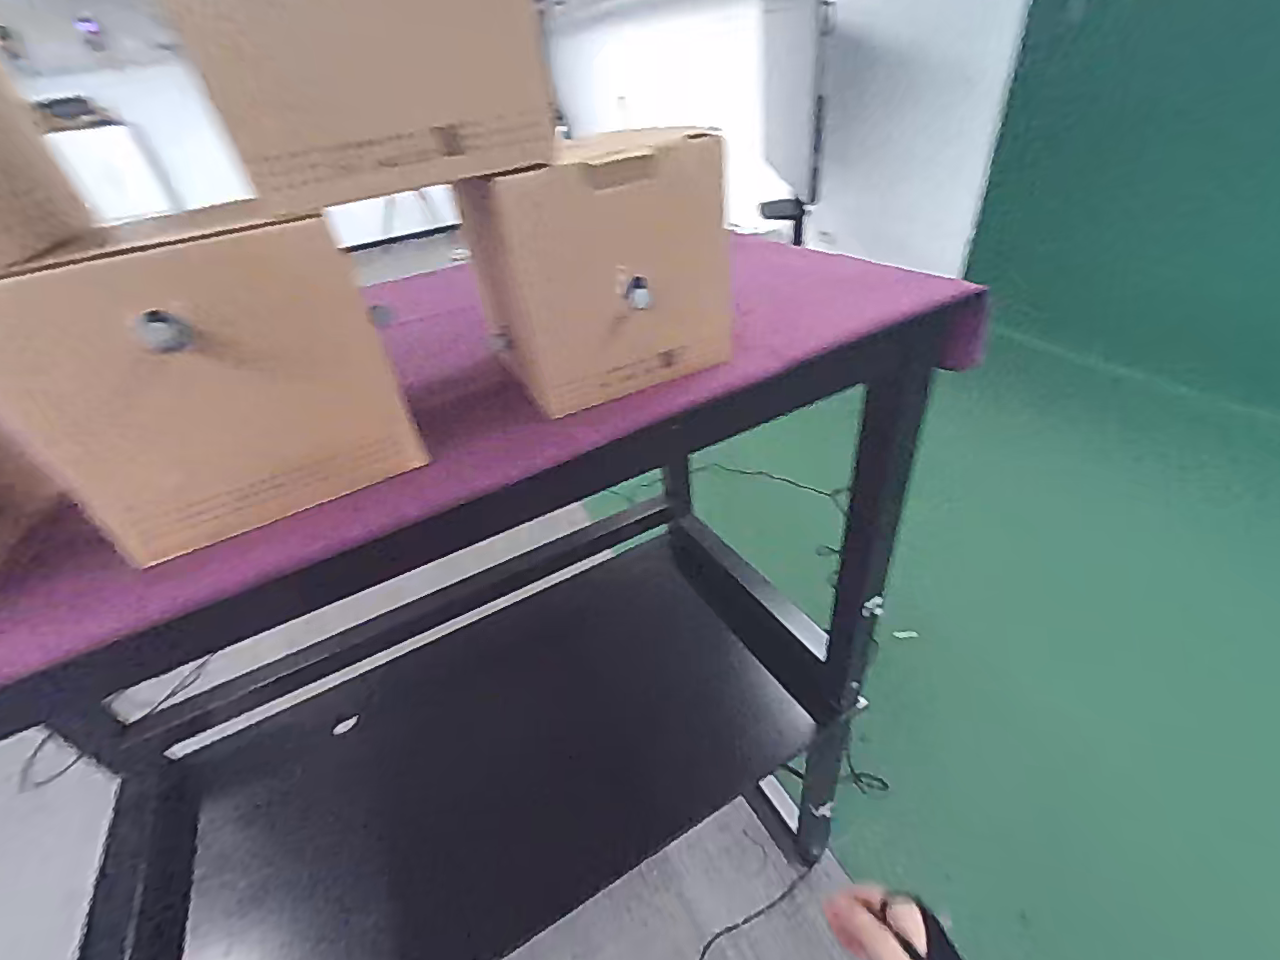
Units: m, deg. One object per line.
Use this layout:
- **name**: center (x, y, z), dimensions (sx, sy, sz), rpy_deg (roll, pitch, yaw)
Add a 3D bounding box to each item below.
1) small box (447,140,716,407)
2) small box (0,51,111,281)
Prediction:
- **small box**: center (-0.045, -0.179, 0.466), dimensions (0.168, 0.176, 0.179), rpy_deg (-22, 38, -18)
- **small box**: center (-0.411, -0.174, 0.252), dimensions (0.168, 0.176, 0.179), rpy_deg (-22, 37, -19)
